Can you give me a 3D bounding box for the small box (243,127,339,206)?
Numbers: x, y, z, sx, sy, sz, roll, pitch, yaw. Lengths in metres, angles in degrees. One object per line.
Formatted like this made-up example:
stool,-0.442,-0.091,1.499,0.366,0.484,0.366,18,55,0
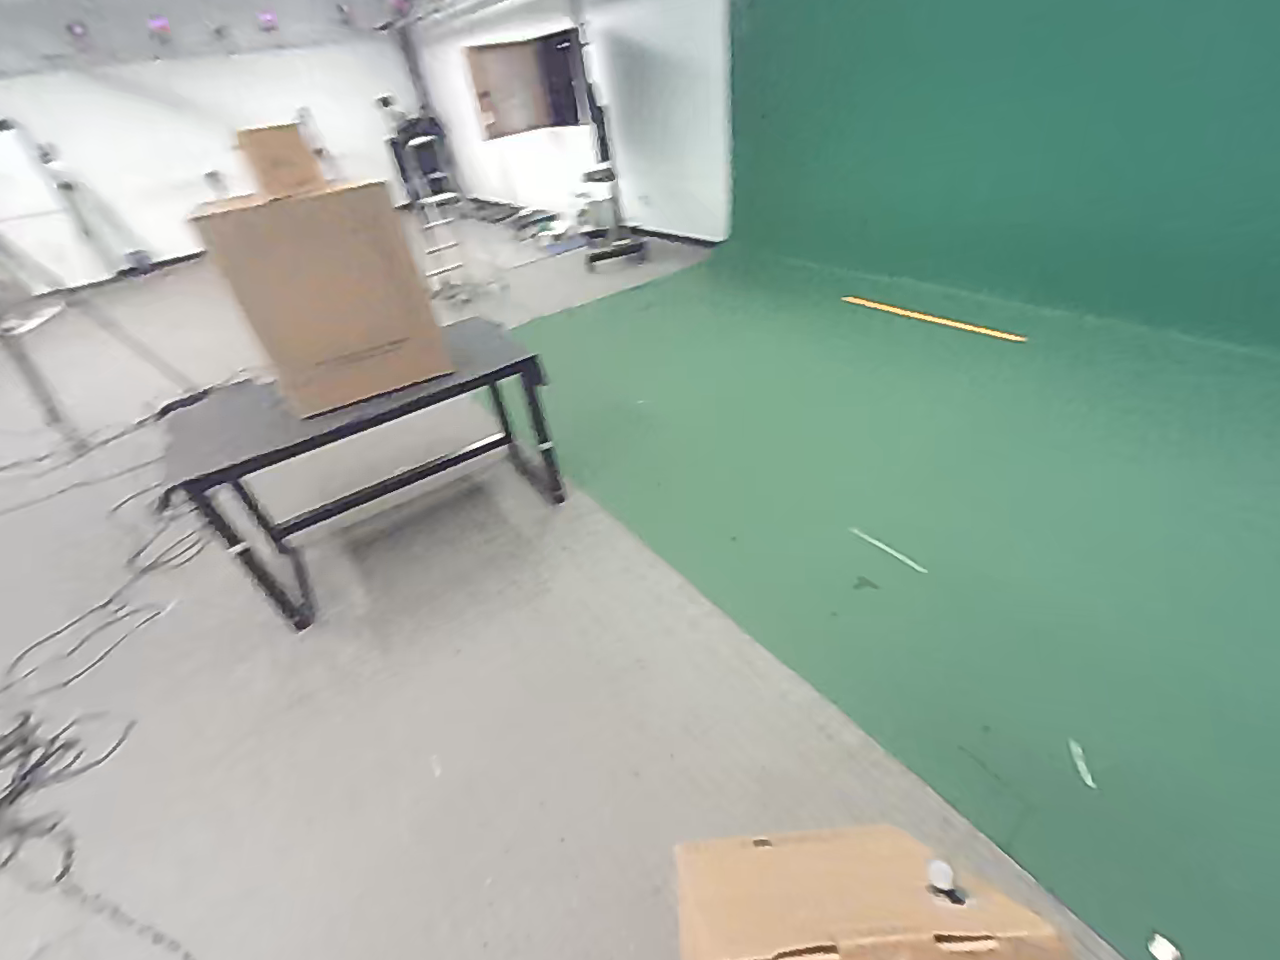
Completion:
small box,-0.996,-0.899,1.551,0.168,0.176,0.179,-29,43,-25
